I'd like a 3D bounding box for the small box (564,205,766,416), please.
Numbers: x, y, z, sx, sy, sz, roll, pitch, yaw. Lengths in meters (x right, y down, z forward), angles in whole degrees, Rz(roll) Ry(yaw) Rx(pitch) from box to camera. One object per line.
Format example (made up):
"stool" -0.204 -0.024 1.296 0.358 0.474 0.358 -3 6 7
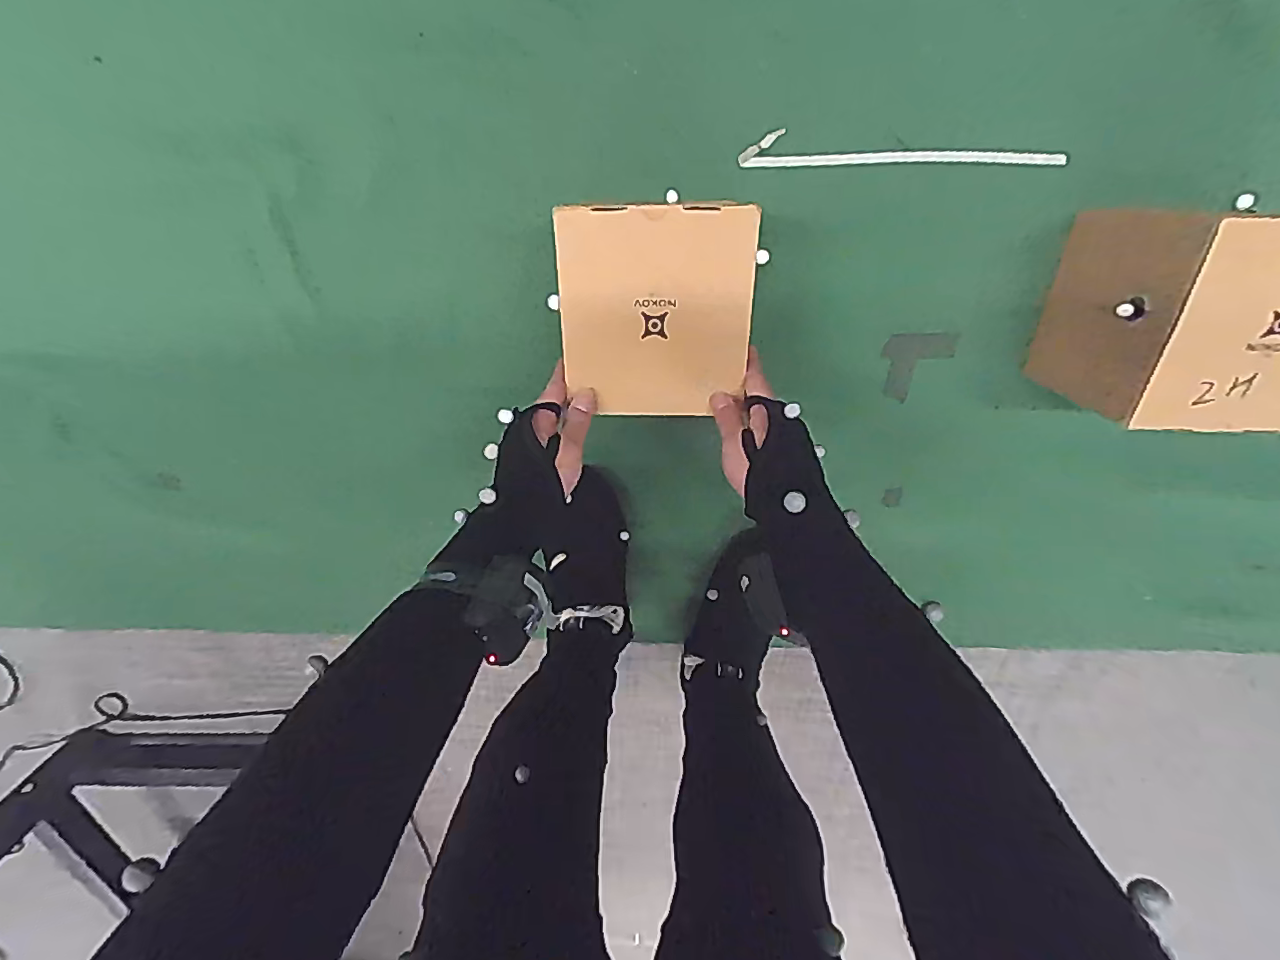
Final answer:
"small box" 0.023 -0.175 0.538 0.168 0.176 0.179 1 115 2

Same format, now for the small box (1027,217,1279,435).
"small box" 0.524 -0.156 0.524 0.168 0.176 0.179 2 117 2
